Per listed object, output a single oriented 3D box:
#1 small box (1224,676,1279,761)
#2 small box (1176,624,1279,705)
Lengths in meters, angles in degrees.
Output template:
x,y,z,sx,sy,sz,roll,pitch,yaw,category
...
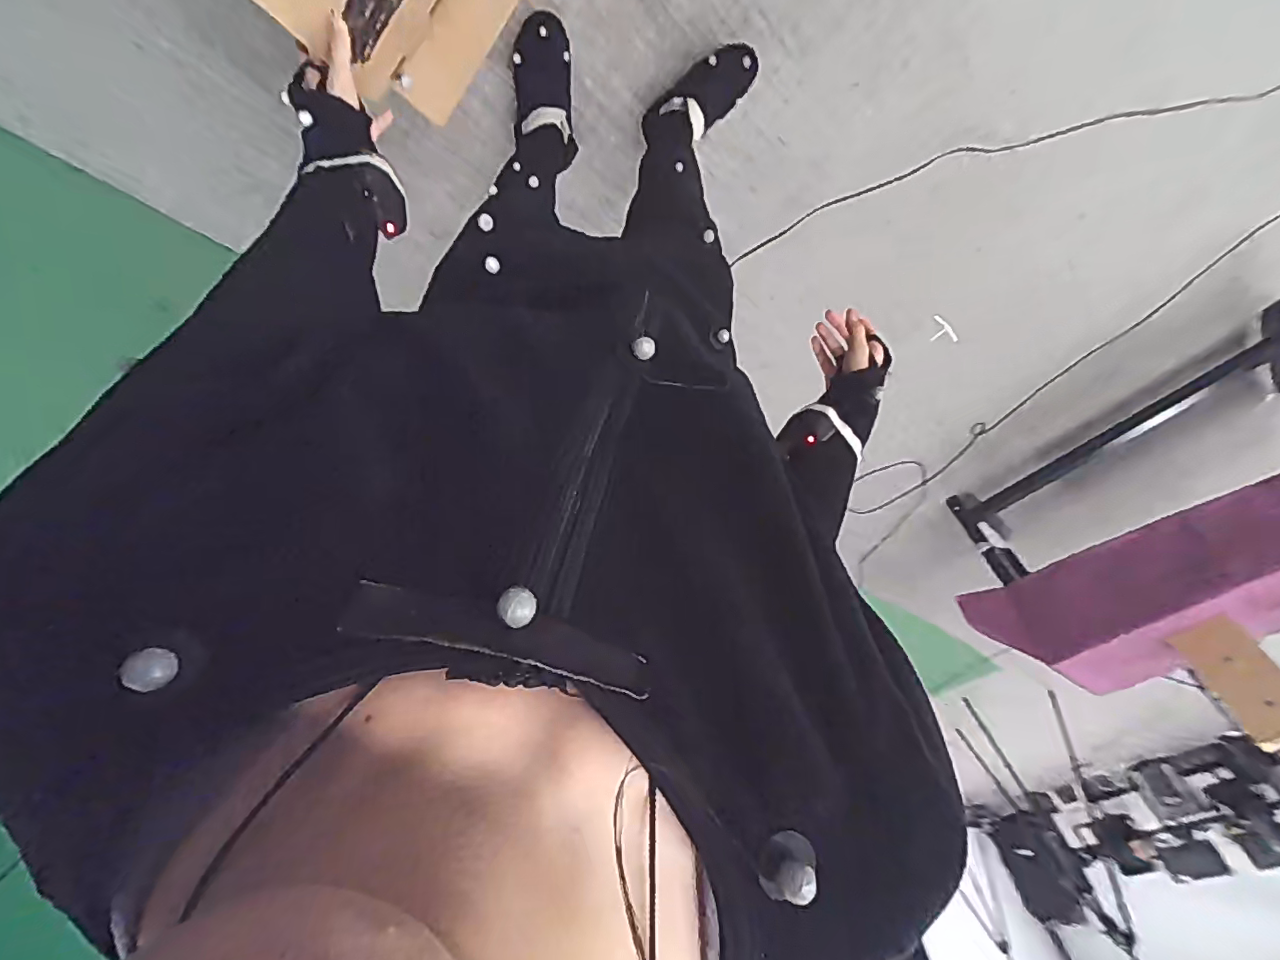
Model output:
x,y,z,sx,sy,sz,roll,pitch,yaw,category
1.858,0.687,1.563,0.168,0.176,0.179,28,124,-32,small box
1.837,0.570,1.677,0.168,0.176,0.179,29,125,-32,small box
